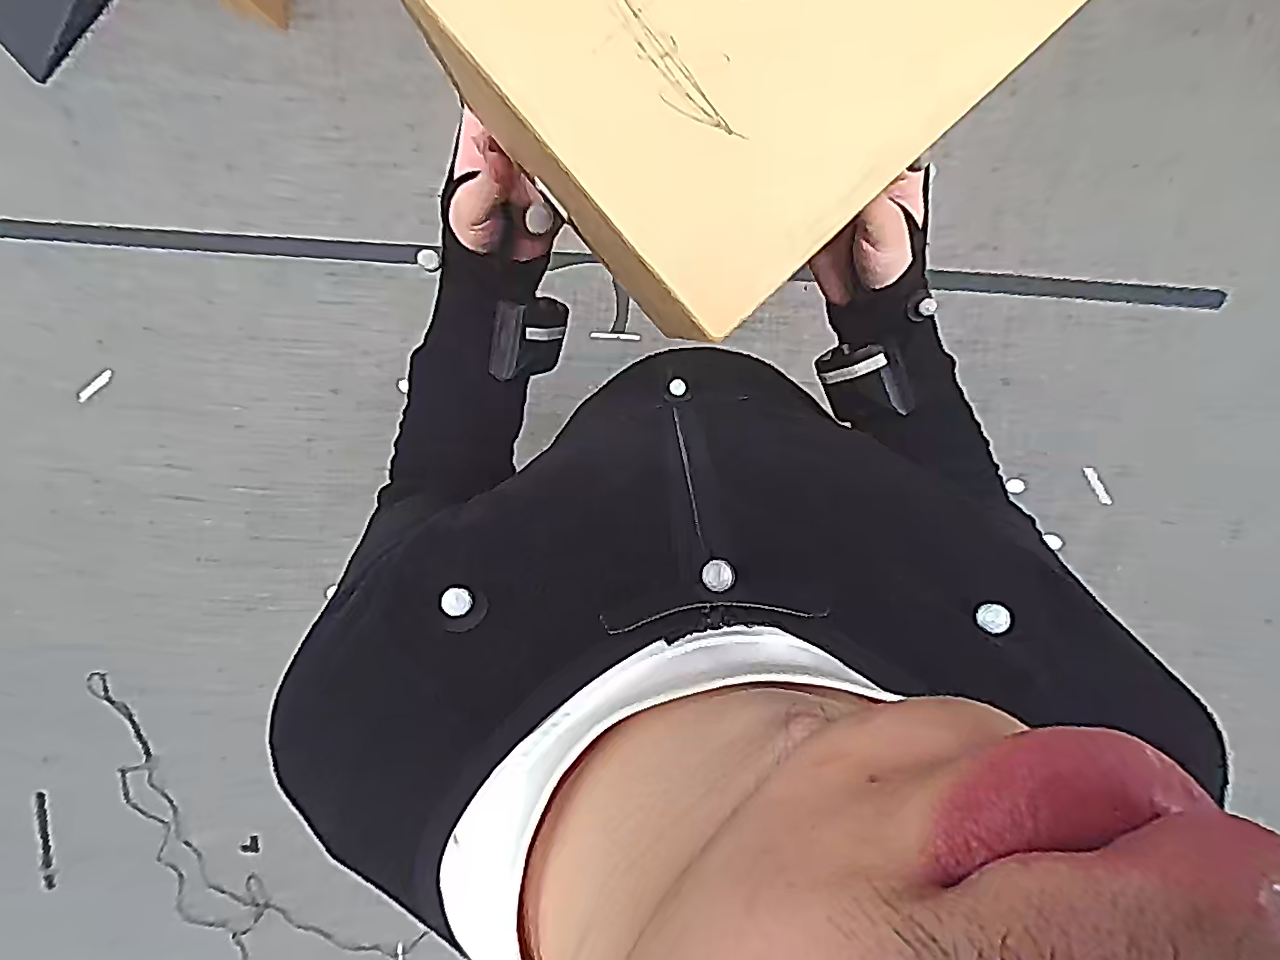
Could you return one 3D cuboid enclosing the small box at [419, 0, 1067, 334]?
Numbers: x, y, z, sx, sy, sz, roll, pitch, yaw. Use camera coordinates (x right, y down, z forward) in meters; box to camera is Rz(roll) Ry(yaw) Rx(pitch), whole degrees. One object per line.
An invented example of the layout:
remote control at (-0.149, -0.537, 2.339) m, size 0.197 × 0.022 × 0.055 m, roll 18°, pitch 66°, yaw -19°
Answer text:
small box at (0.030, -0.188, 0.246) m, size 0.179 × 0.176 × 0.168 m, roll -43°, pitch 102°, yaw 9°
